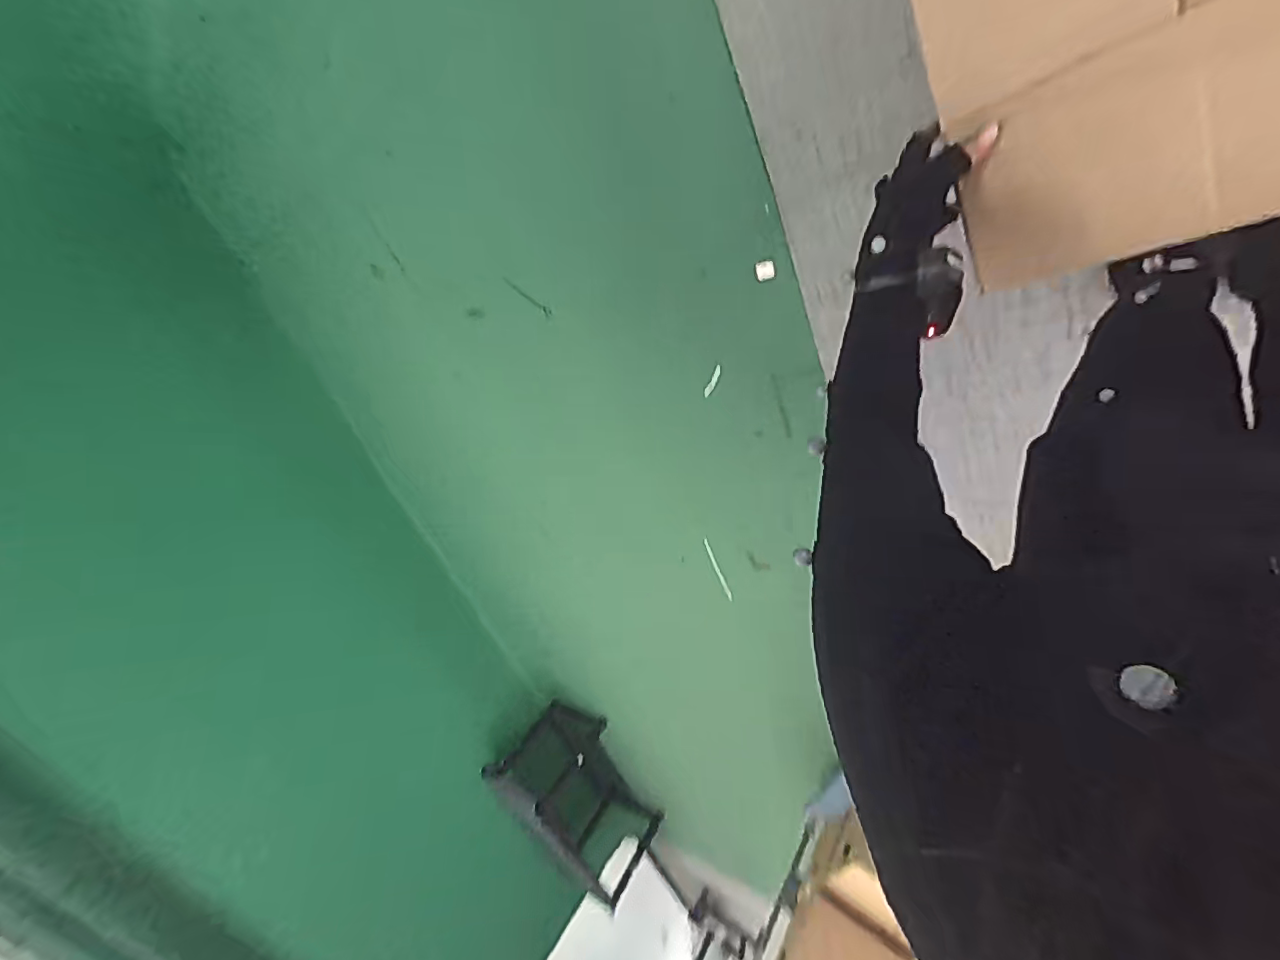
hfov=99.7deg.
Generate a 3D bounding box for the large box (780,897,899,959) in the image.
[{"bbox_3d":[0.737,1.813,1.945,0.408,0.320,0.320,27,143,24],"label":"large box"}]
